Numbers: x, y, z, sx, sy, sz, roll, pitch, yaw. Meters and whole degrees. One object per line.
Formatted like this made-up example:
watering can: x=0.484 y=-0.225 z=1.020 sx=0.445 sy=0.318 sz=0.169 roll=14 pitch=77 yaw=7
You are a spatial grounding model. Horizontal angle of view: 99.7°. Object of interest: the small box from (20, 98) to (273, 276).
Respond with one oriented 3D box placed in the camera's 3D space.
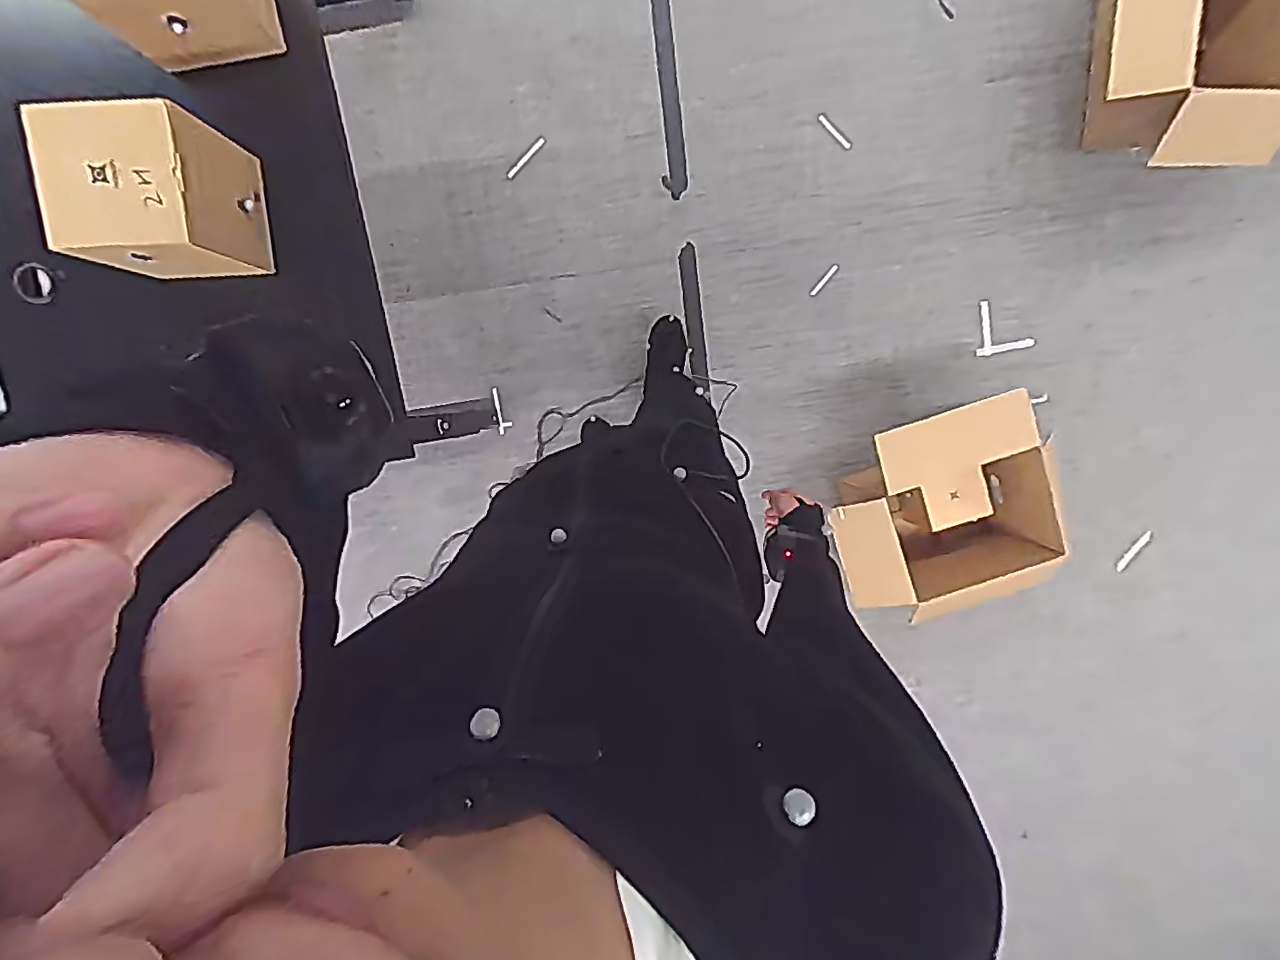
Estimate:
small box: x=-0.644 y=-0.379 z=0.730 sx=0.179 sy=0.176 sz=0.168 roll=-3 pitch=99 yaw=-1
